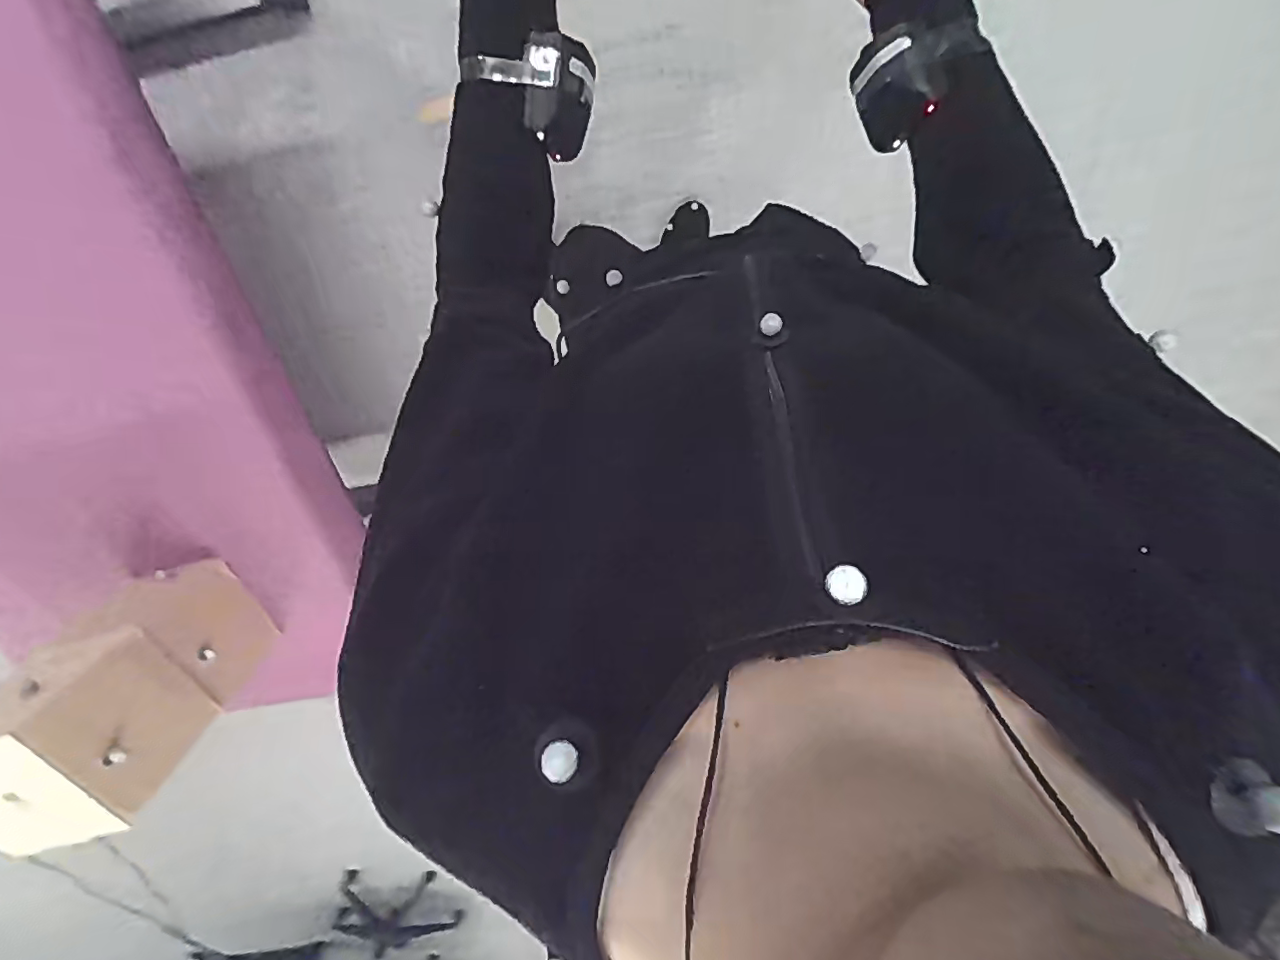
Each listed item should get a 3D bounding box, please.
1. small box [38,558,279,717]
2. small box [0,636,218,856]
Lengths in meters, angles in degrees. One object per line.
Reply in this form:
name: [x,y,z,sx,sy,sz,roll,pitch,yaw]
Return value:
small box: [-0.700,0.247,0.816,0.168,0.176,0.179,-15,117,6]
small box: [-0.693,0.317,0.670,0.168,0.176,0.179,-17,117,6]
